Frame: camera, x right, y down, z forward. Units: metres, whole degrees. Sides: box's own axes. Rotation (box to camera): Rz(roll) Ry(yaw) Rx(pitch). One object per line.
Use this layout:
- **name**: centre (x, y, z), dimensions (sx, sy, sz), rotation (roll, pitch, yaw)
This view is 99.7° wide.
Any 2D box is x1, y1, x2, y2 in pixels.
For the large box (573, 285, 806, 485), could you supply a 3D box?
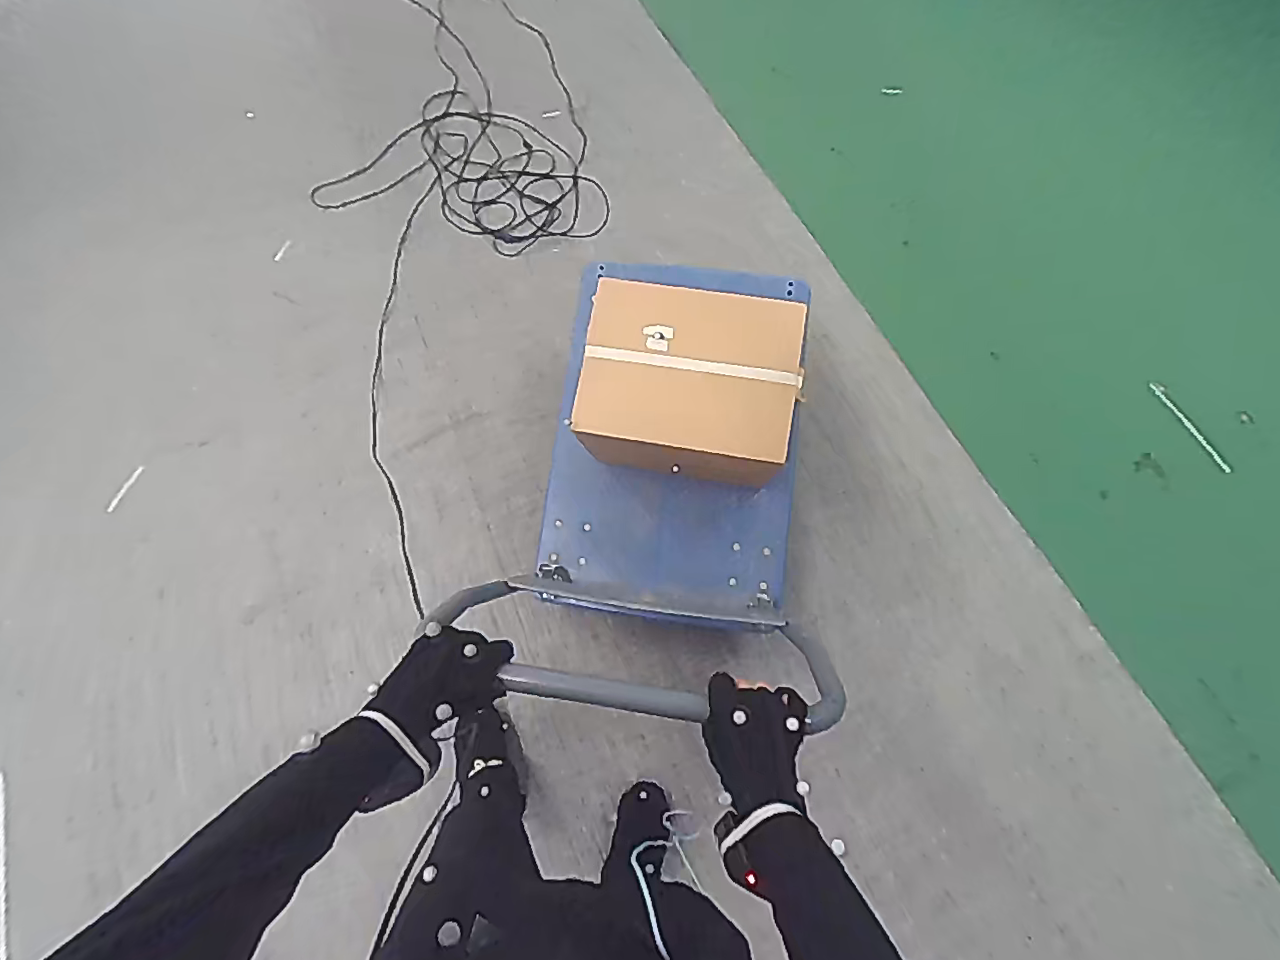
- **large box**: centre (0.108, -0.182, 1.159), dimensions (0.408, 0.320, 0.320), rotation (10, 82, 7)
